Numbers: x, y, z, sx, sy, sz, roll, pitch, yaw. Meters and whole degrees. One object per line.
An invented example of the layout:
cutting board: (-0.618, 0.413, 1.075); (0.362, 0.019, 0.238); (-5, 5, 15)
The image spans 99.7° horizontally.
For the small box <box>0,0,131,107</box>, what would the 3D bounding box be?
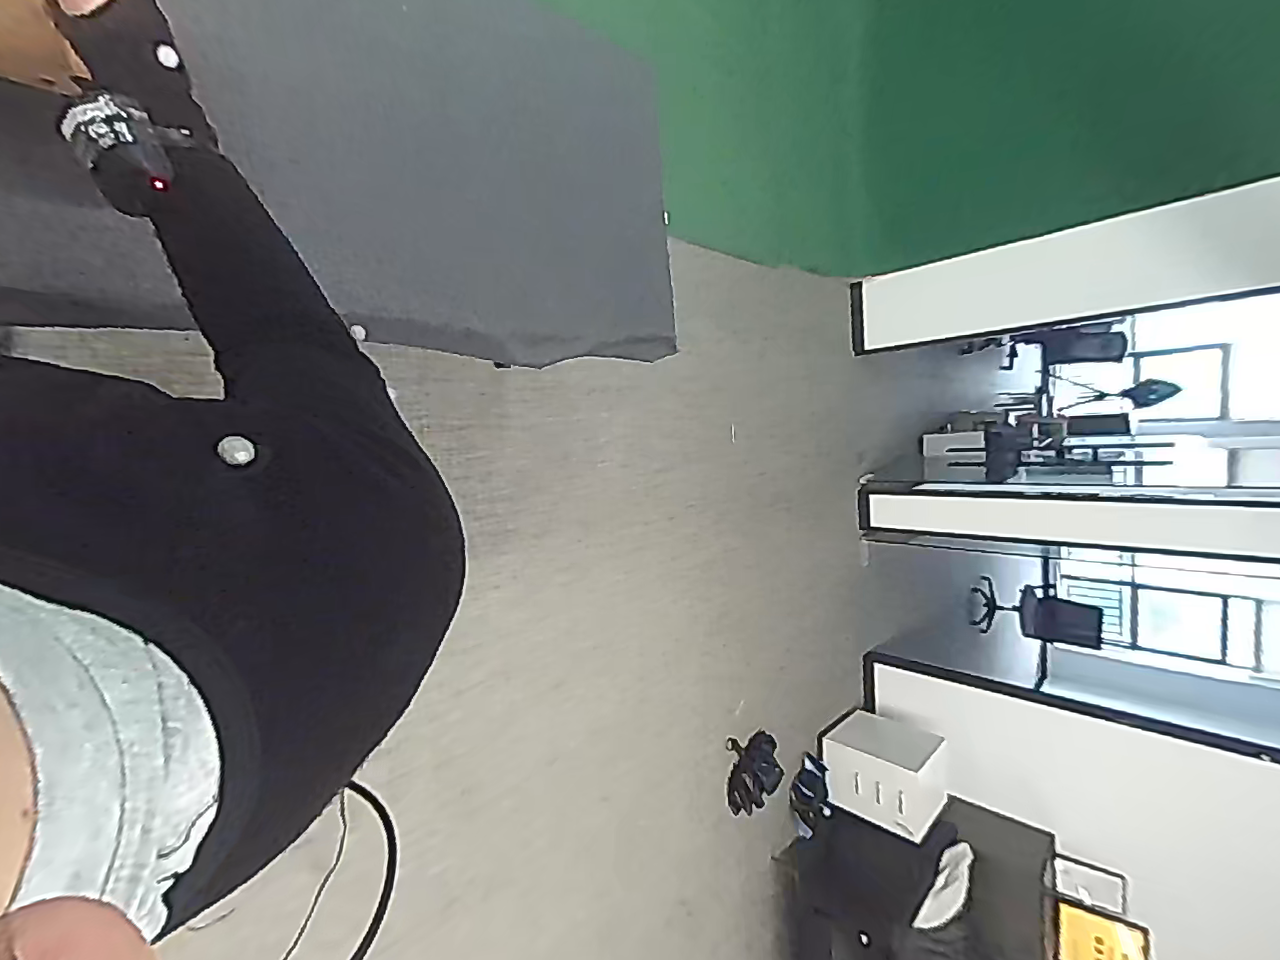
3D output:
small box: (-0.604, -0.500, 0.510); (0.168, 0.176, 0.179); (-8, 97, -45)
